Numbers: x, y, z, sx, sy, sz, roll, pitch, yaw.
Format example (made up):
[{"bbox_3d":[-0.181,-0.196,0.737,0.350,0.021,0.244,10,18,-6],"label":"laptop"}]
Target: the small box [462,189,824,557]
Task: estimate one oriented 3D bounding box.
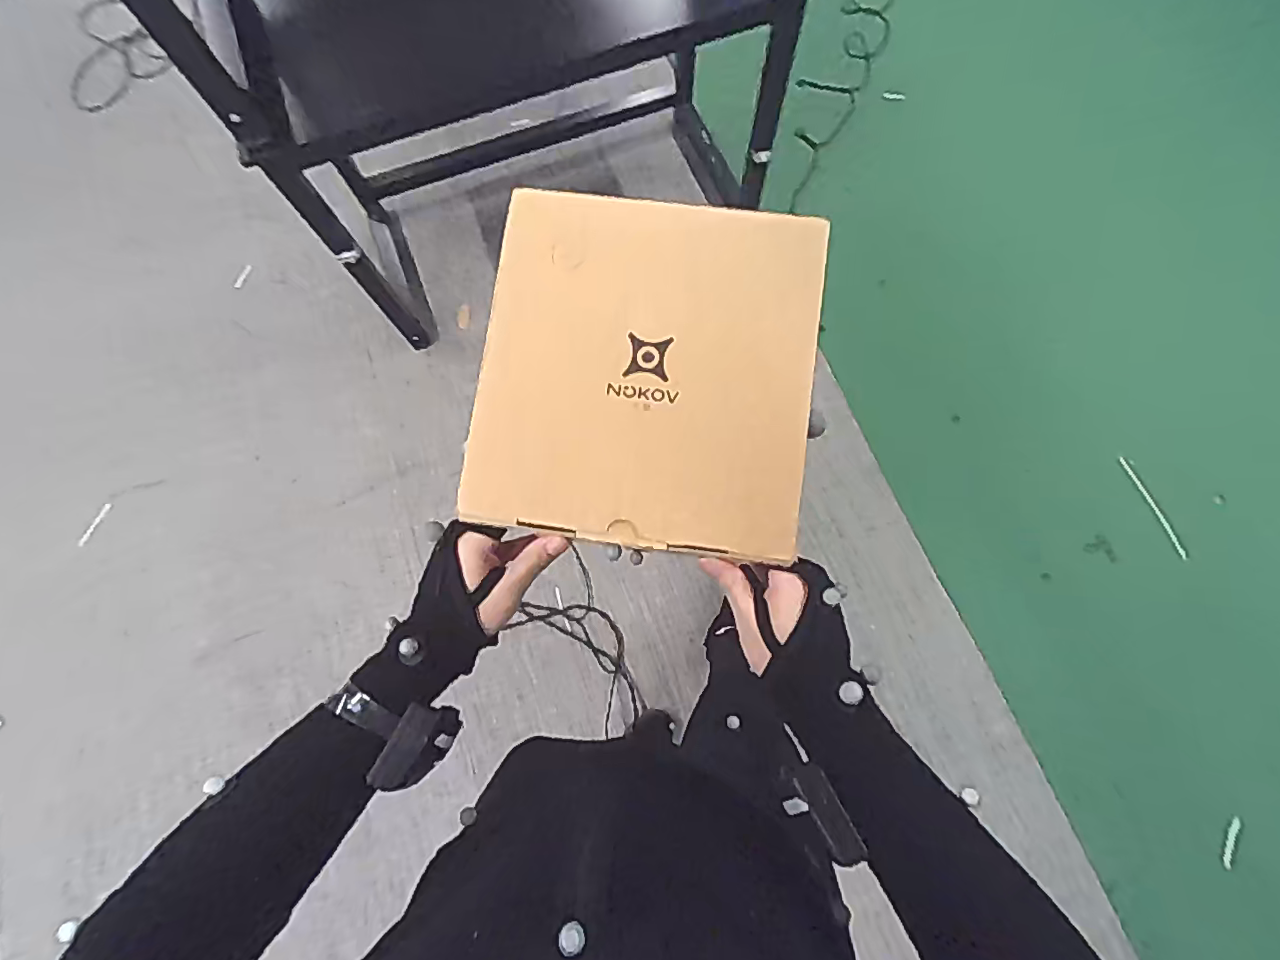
[{"bbox_3d":[0.006,-0.049,0.351,0.168,0.176,0.179,7,84,3],"label":"small box"}]
